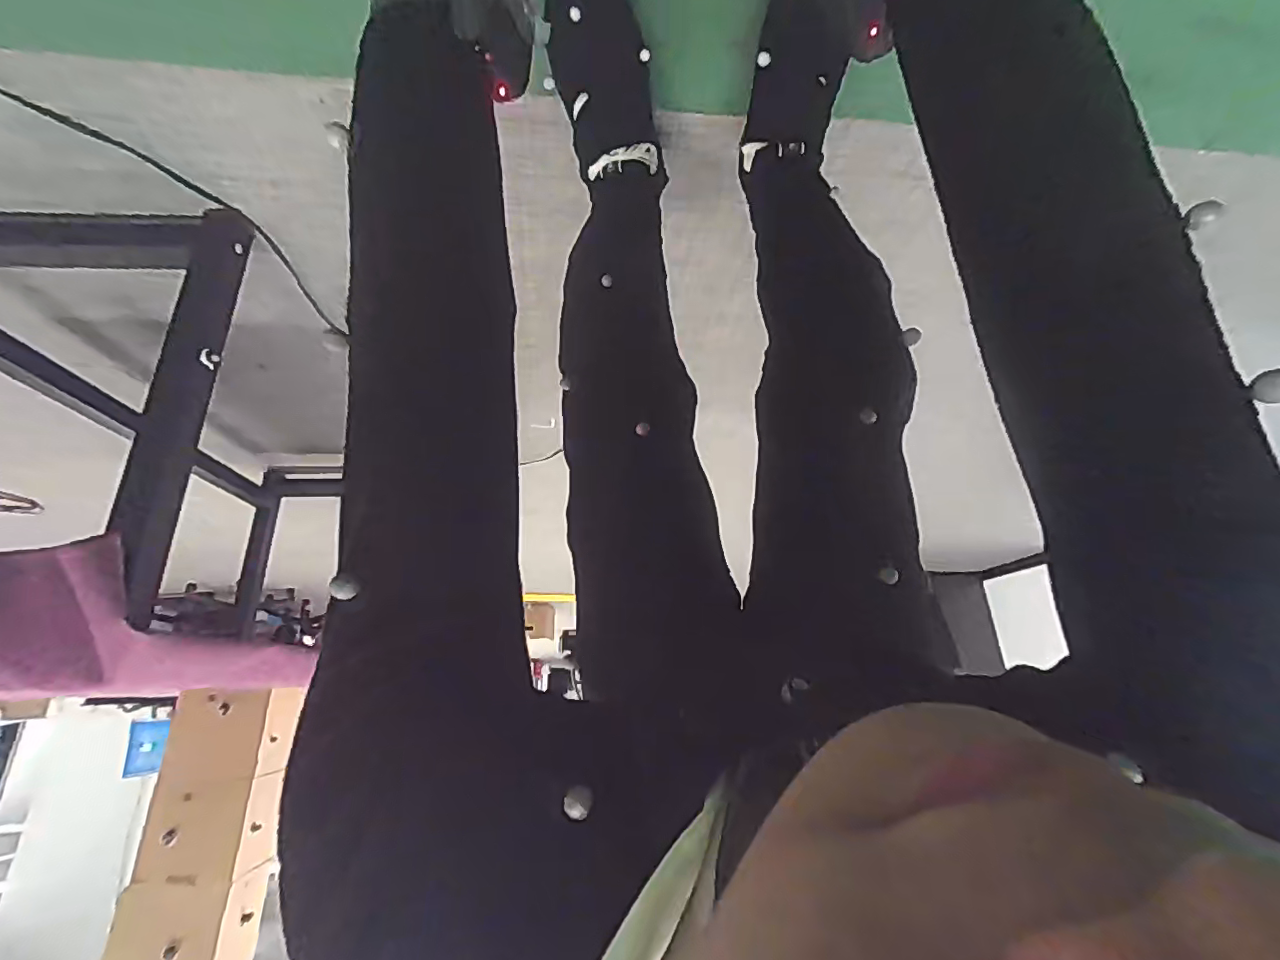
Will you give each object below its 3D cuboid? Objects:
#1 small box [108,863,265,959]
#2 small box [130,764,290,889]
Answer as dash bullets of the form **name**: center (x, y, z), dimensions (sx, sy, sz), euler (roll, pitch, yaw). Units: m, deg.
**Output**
- **small box**: center (-0.816, 0.807, 0.983), dimensions (0.179, 0.176, 0.168), euler (2, 157, -9)
- **small box**: center (-0.813, 0.656, 1.045), dimensions (0.168, 0.176, 0.179), euler (2, 158, -9)
